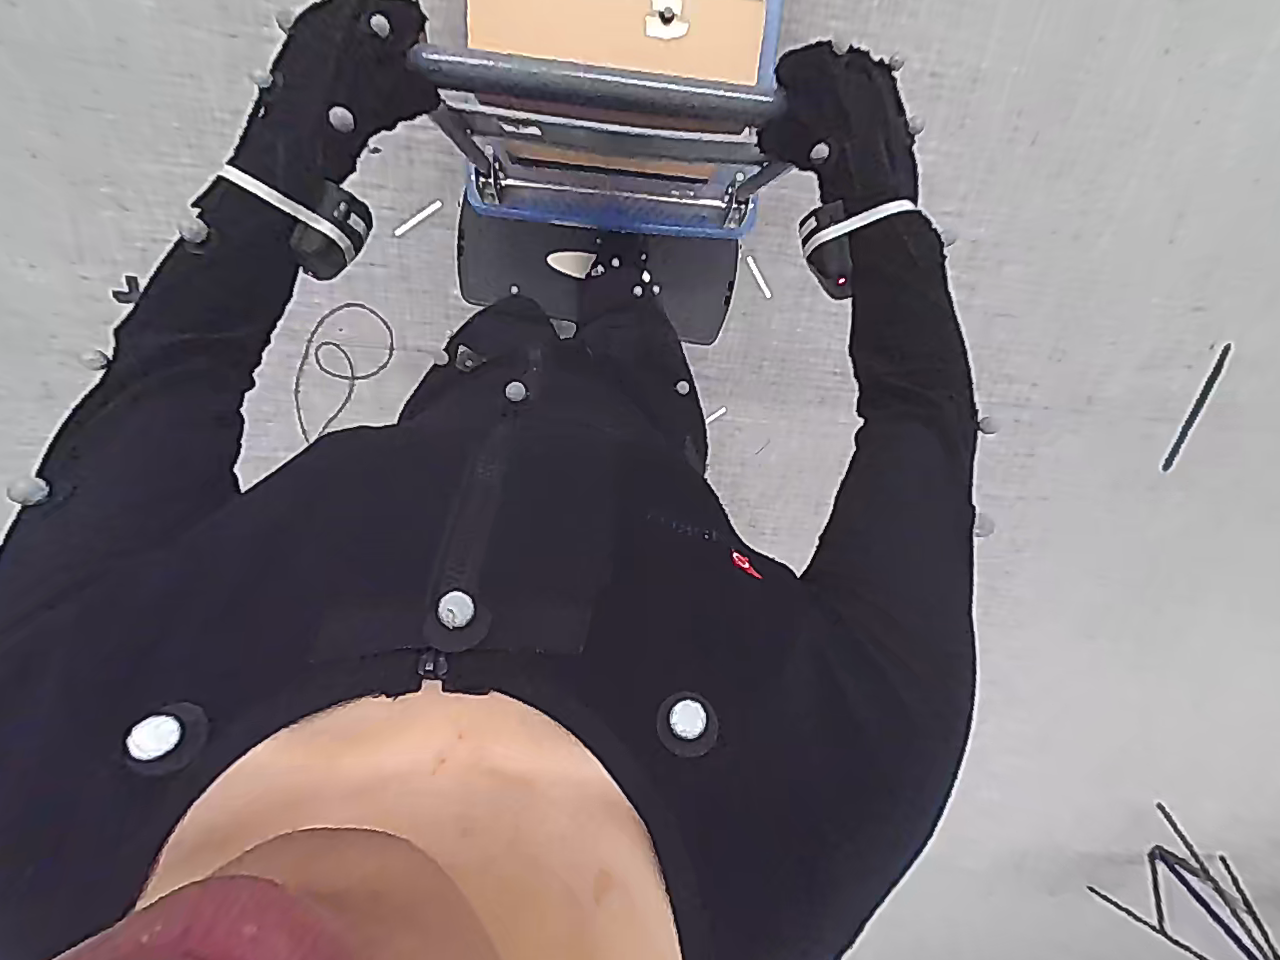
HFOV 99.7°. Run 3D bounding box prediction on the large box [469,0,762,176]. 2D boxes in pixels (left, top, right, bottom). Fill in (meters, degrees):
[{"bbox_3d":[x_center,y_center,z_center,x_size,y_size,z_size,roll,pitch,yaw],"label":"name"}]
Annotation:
[{"bbox_3d":[-0.042,-0.712,0.867,0.408,0.320,0.320,3,106,-6],"label":"large box"}]
